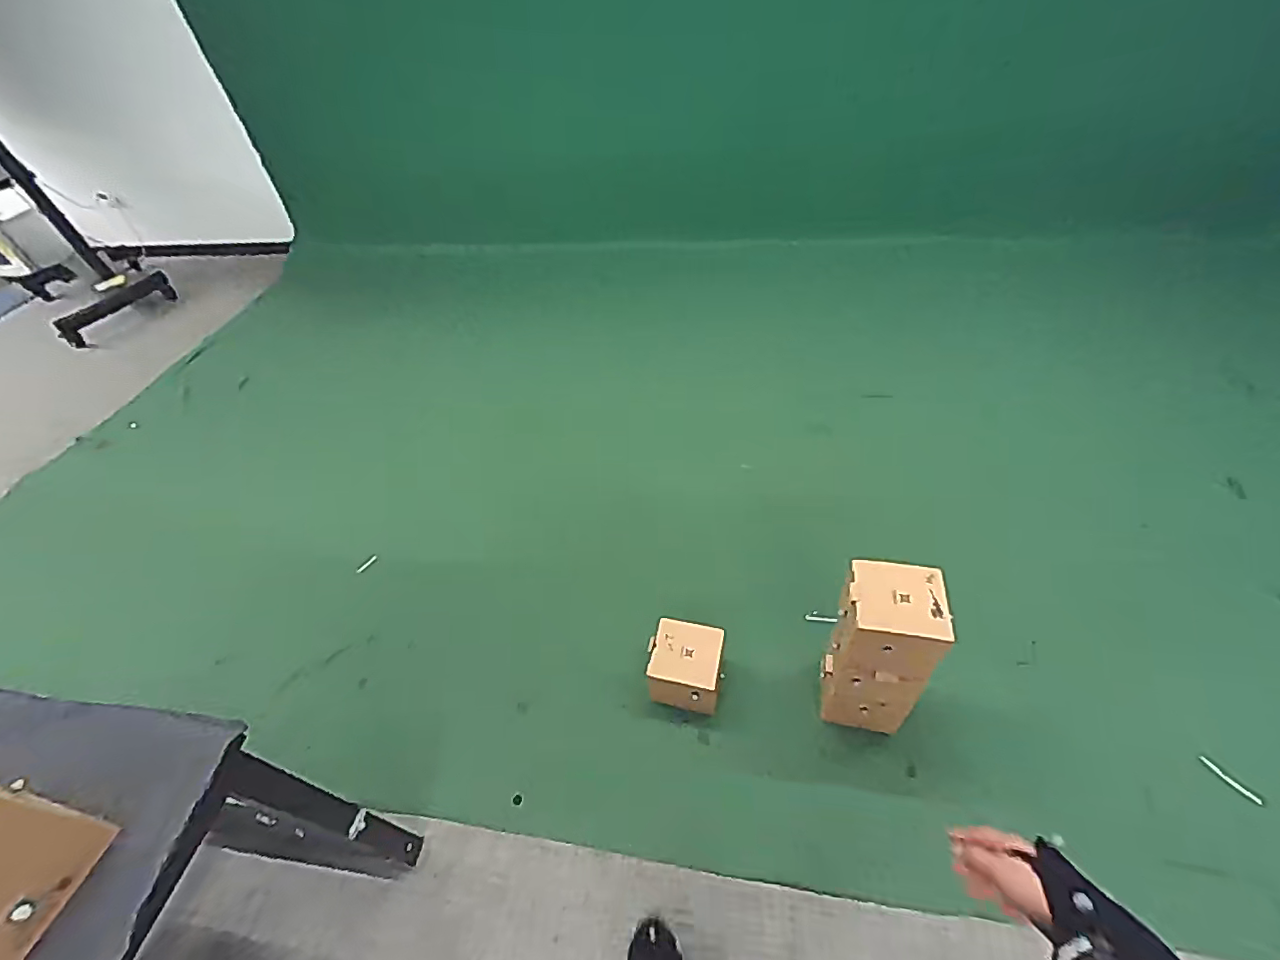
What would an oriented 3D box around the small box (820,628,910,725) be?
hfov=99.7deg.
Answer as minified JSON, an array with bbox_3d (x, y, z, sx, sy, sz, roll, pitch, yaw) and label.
[{"bbox_3d":[0.562,0.501,1.366,0.179,0.176,0.168,7,49,13],"label":"small box"}]

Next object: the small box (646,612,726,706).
[{"bbox_3d":[0.125,0.479,1.434,0.179,0.176,0.168,8,49,14],"label":"small box"}]

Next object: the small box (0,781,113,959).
[{"bbox_3d":[-0.764,0.426,0.589,0.179,0.176,0.168,7,50,15],"label":"small box"}]

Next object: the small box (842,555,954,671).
[{"bbox_3d":[0.523,0.279,1.127,0.179,0.176,0.168,5,48,12],"label":"small box"}]
